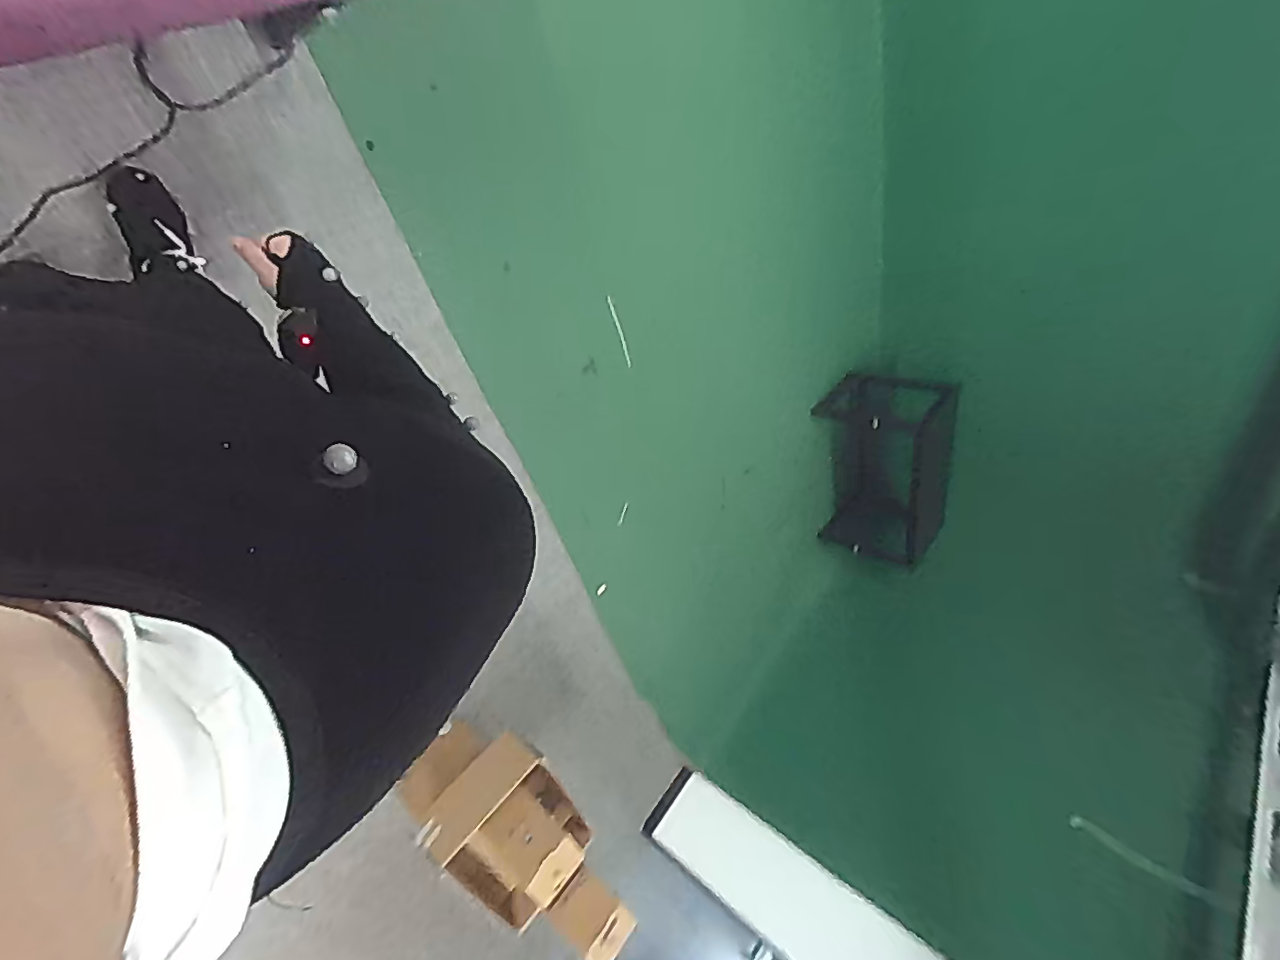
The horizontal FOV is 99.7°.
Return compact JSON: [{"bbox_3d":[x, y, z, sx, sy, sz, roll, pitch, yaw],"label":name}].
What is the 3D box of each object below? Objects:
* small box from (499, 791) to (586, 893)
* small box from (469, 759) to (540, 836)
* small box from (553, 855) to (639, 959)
[{"bbox_3d":[-0.295,1.081,1.628,0.168,0.176,0.179,-40,132,-30],"label":"small box"},{"bbox_3d":[-0.413,1.037,1.732,0.168,0.176,0.179,-41,133,-30],"label":"small box"},{"bbox_3d":[-0.136,1.293,1.647,0.168,0.176,0.179,-43,131,-27],"label":"small box"}]
